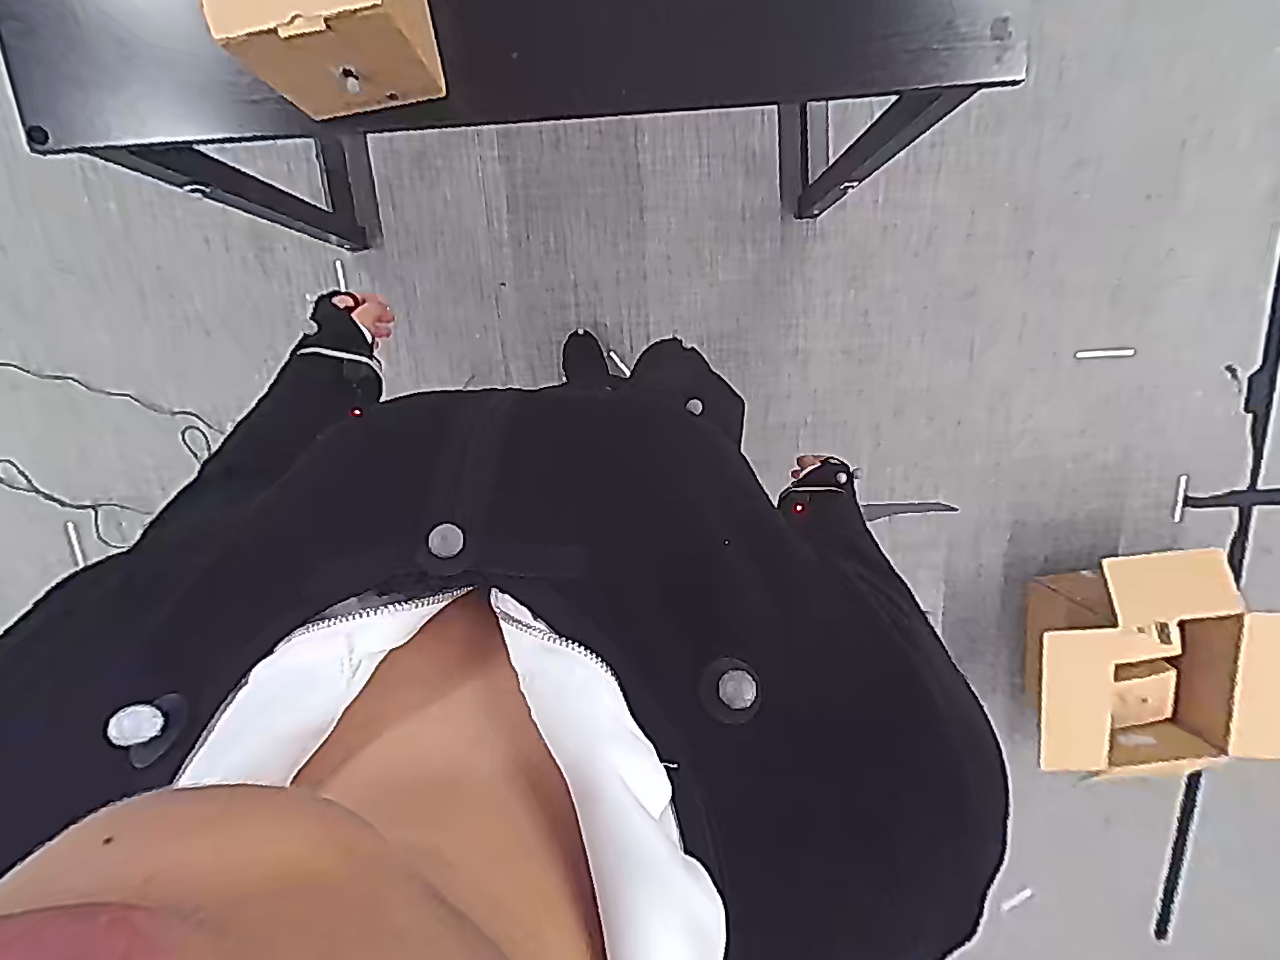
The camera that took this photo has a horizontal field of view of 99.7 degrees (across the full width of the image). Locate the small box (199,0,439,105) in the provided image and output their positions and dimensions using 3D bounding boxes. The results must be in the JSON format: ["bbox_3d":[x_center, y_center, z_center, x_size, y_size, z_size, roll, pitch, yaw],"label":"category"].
[{"bbox_3d":[-0.327,-0.517,0.552,0.168,0.176,0.179,-10,103,2],"label":"small box"}]
